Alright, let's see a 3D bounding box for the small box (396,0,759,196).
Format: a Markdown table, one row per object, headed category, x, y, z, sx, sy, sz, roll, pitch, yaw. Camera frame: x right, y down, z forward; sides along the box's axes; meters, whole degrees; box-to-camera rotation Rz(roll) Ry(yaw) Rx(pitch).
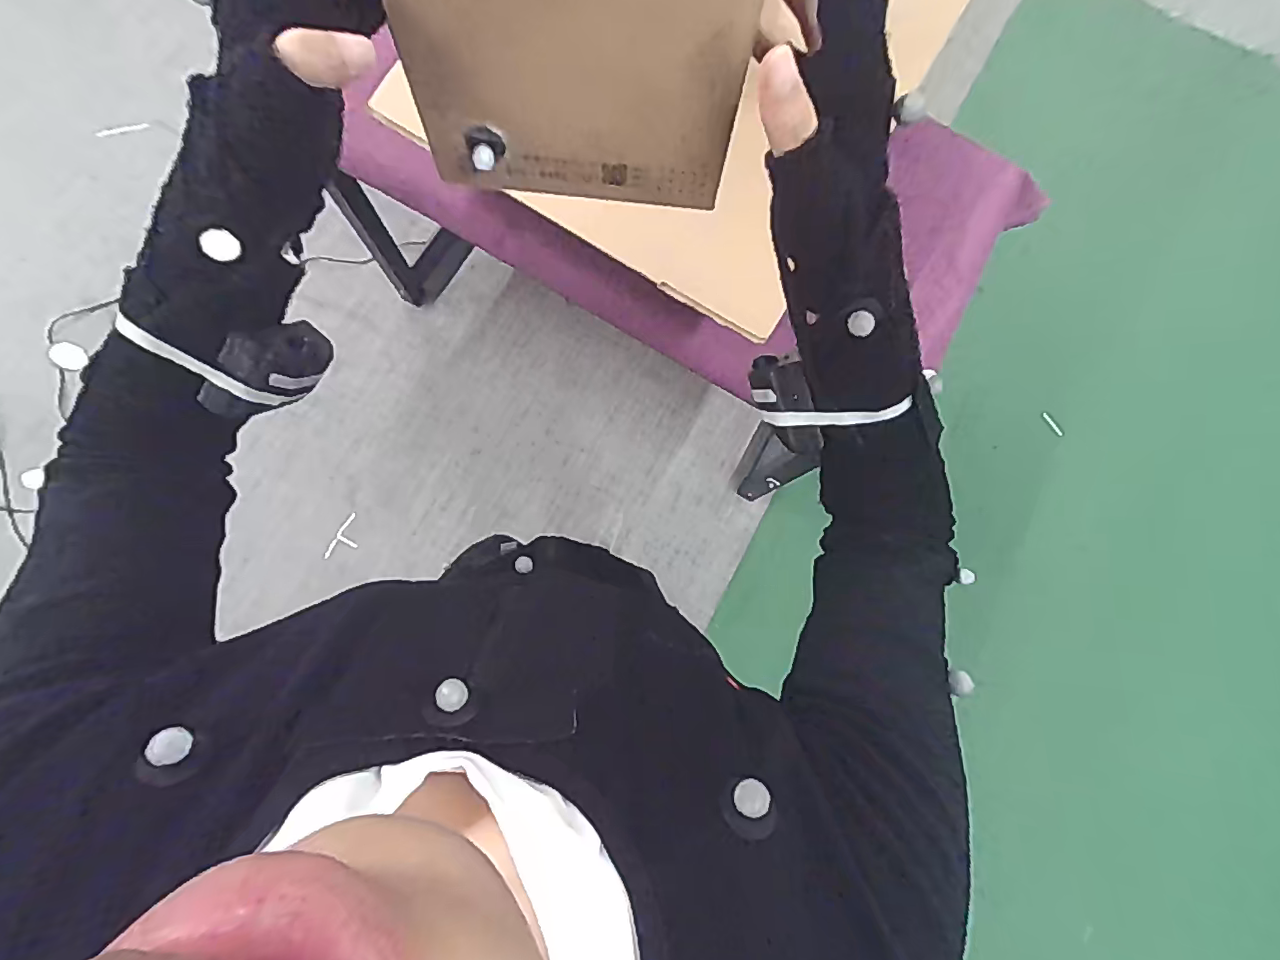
| category | x | y | z | sx | sy | sz | roll | pitch | yaw |
| --- | --- | --- | --- | --- | --- | --- | --- | --- | --- |
| small box | -0.023 | -0.280 | 0.278 | 0.168 | 0.176 | 0.179 | 5 | 71 | -2 |
